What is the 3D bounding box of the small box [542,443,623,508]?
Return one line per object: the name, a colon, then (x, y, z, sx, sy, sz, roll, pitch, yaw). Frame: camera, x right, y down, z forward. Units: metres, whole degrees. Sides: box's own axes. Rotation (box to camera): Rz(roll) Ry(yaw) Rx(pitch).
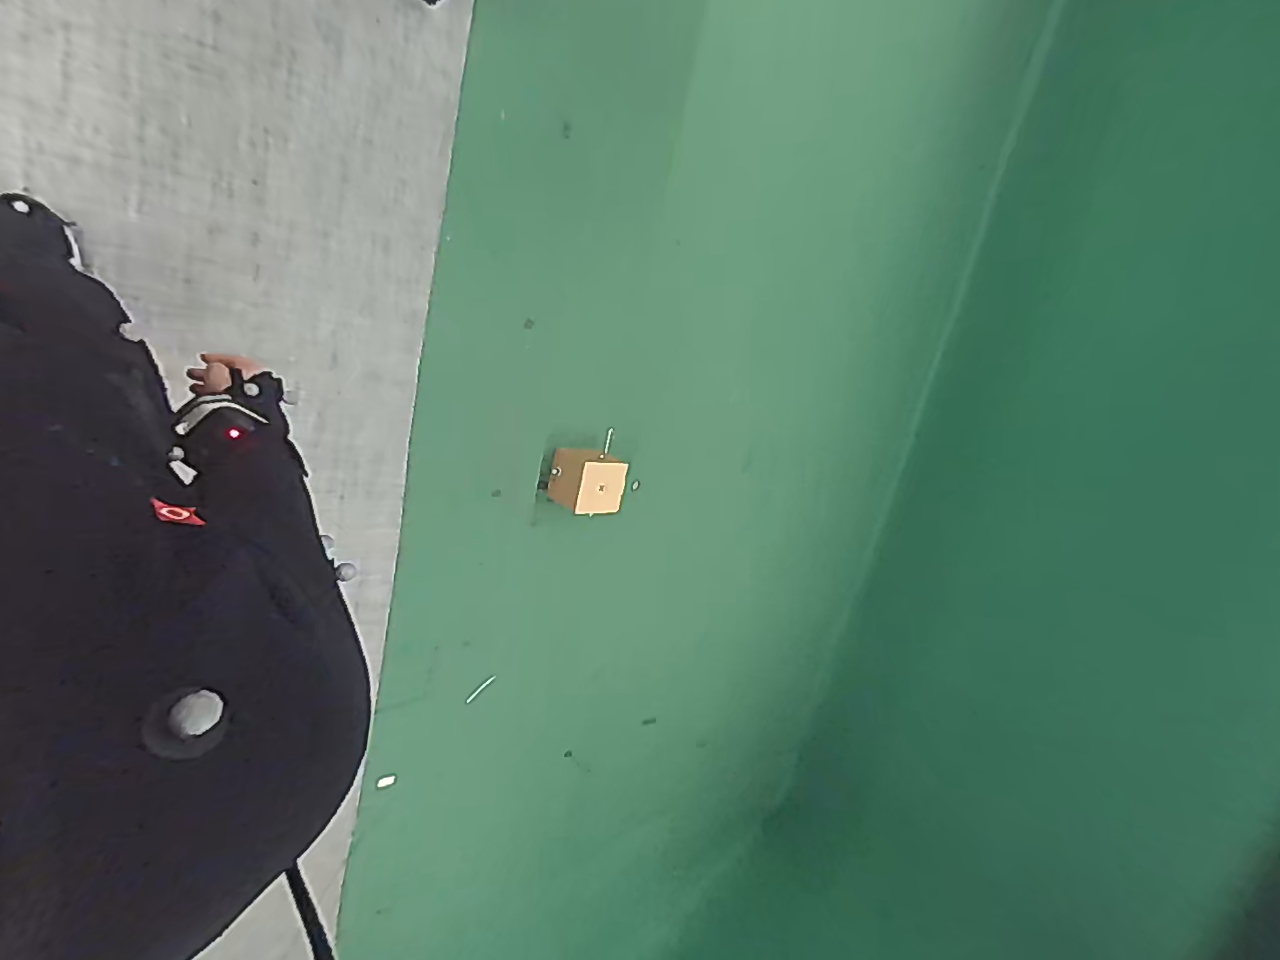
small box: (-0.185, -0.017, 1.718, 0.179, 0.176, 0.168, 0, 108, -43)
